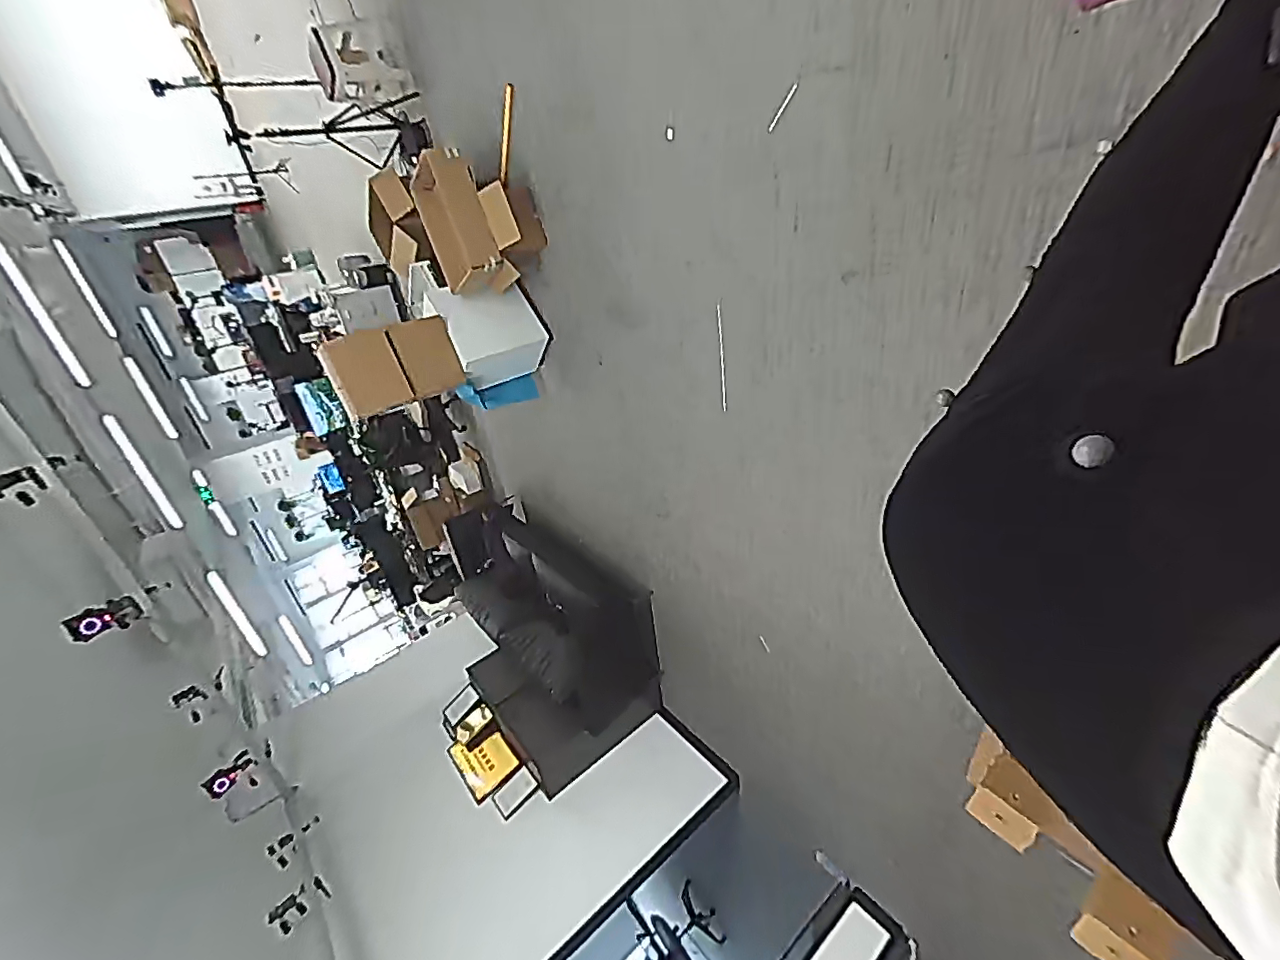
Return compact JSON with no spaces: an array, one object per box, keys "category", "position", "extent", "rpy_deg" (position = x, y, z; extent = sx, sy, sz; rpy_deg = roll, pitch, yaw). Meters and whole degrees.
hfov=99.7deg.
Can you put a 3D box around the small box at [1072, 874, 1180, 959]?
[{"category":"small box","position":[1.437,1.318,1.601],"extent":[0.179,0.176,0.168],"rpy_deg":[29,135,43]}]

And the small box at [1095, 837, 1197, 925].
[{"category":"small box","position":[1.566,1.256,1.678],"extent":[0.179,0.176,0.168],"rpy_deg":[29,136,43]}]

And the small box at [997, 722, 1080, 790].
[{"category":"small box","position":[1.323,0.949,1.813],"extent":[0.179,0.176,0.168],"rpy_deg":[31,138,42]}]

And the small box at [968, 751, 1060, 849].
[{"category":"small box","position":[1.199,1.017,1.731],"extent":[0.179,0.176,0.168],"rpy_deg":[33,138,40]}]
